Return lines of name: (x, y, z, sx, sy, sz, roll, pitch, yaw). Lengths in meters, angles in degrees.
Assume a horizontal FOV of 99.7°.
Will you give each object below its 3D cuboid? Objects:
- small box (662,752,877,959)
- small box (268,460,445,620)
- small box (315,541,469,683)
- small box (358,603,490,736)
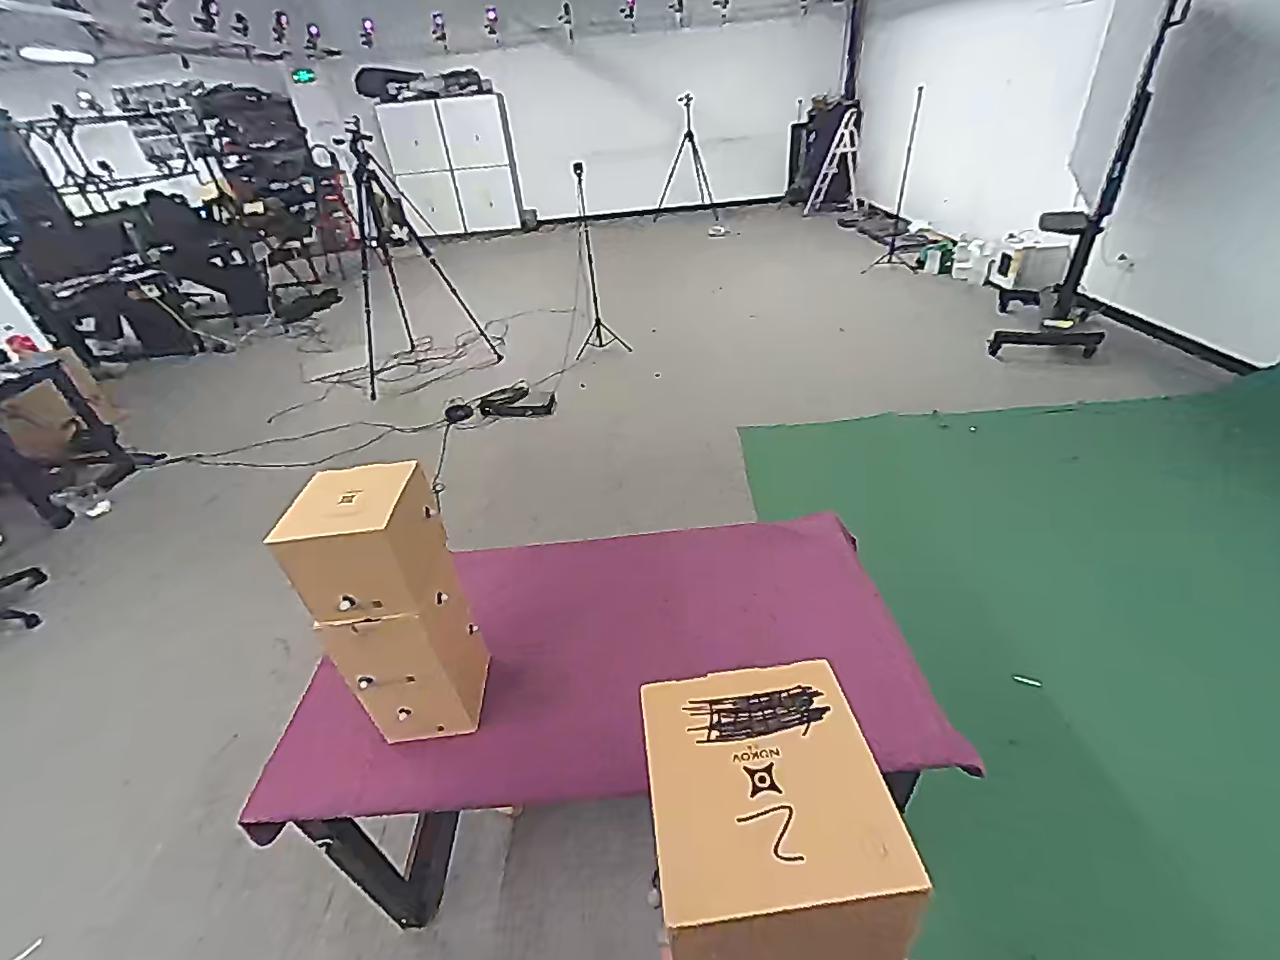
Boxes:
small box: (0.115, 0.405, 0.535, 0.168, 0.176, 0.179, -7, 32, 2)
small box: (-0.419, 0.090, 0.839, 0.168, 0.176, 0.179, -6, 35, 0)
small box: (-0.407, 0.228, 0.925, 0.168, 0.176, 0.179, -6, 34, 0)
small box: (-0.393, 0.361, 1.021, 0.168, 0.176, 0.179, -7, 35, -1)
